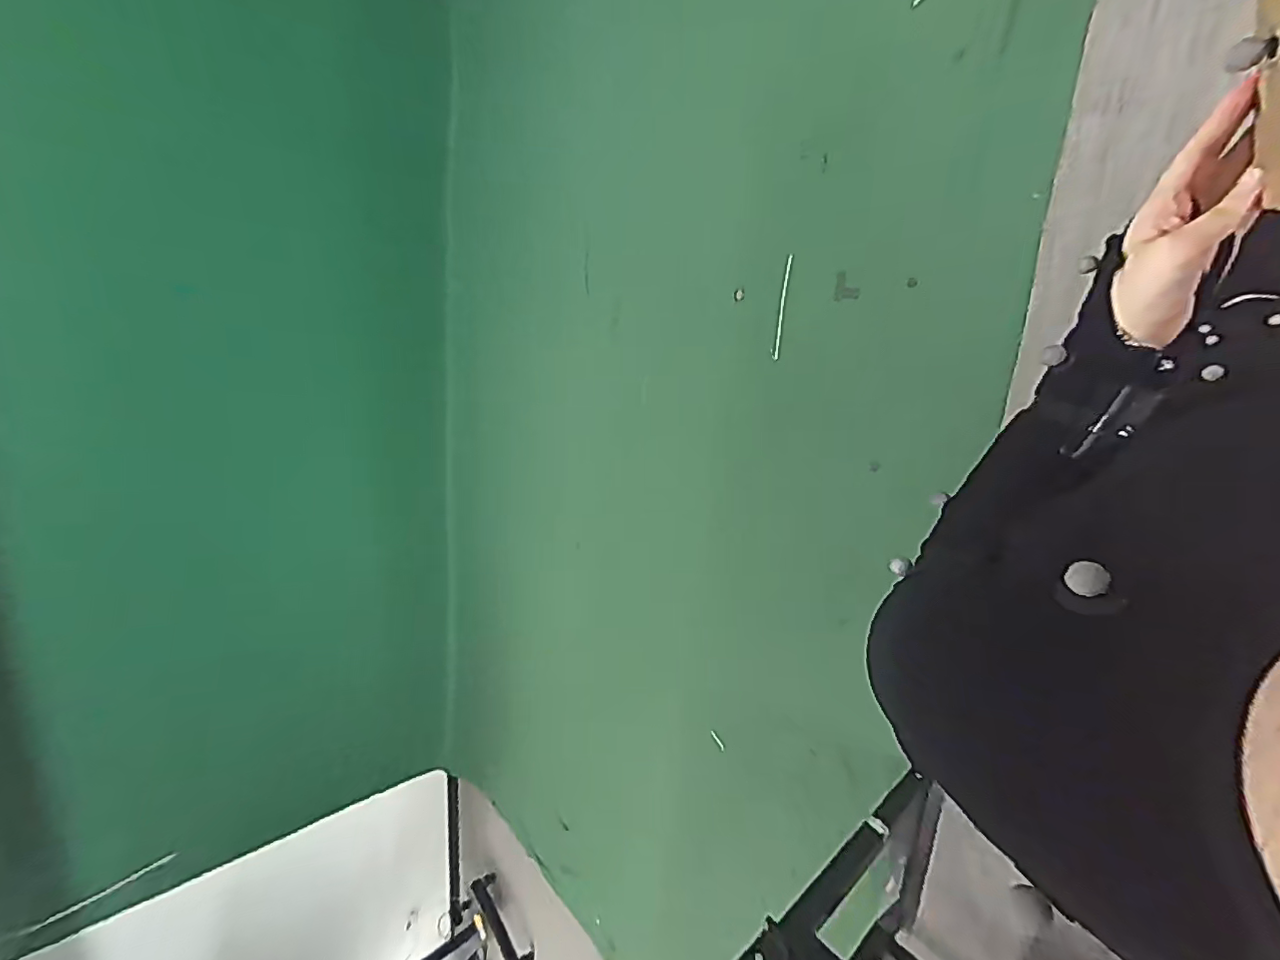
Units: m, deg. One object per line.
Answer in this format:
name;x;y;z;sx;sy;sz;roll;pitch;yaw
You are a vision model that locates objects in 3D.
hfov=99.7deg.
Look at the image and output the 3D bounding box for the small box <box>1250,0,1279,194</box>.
small box;0.393;-0.234;0.226;0.179;0.176;0.168;0;110;45
